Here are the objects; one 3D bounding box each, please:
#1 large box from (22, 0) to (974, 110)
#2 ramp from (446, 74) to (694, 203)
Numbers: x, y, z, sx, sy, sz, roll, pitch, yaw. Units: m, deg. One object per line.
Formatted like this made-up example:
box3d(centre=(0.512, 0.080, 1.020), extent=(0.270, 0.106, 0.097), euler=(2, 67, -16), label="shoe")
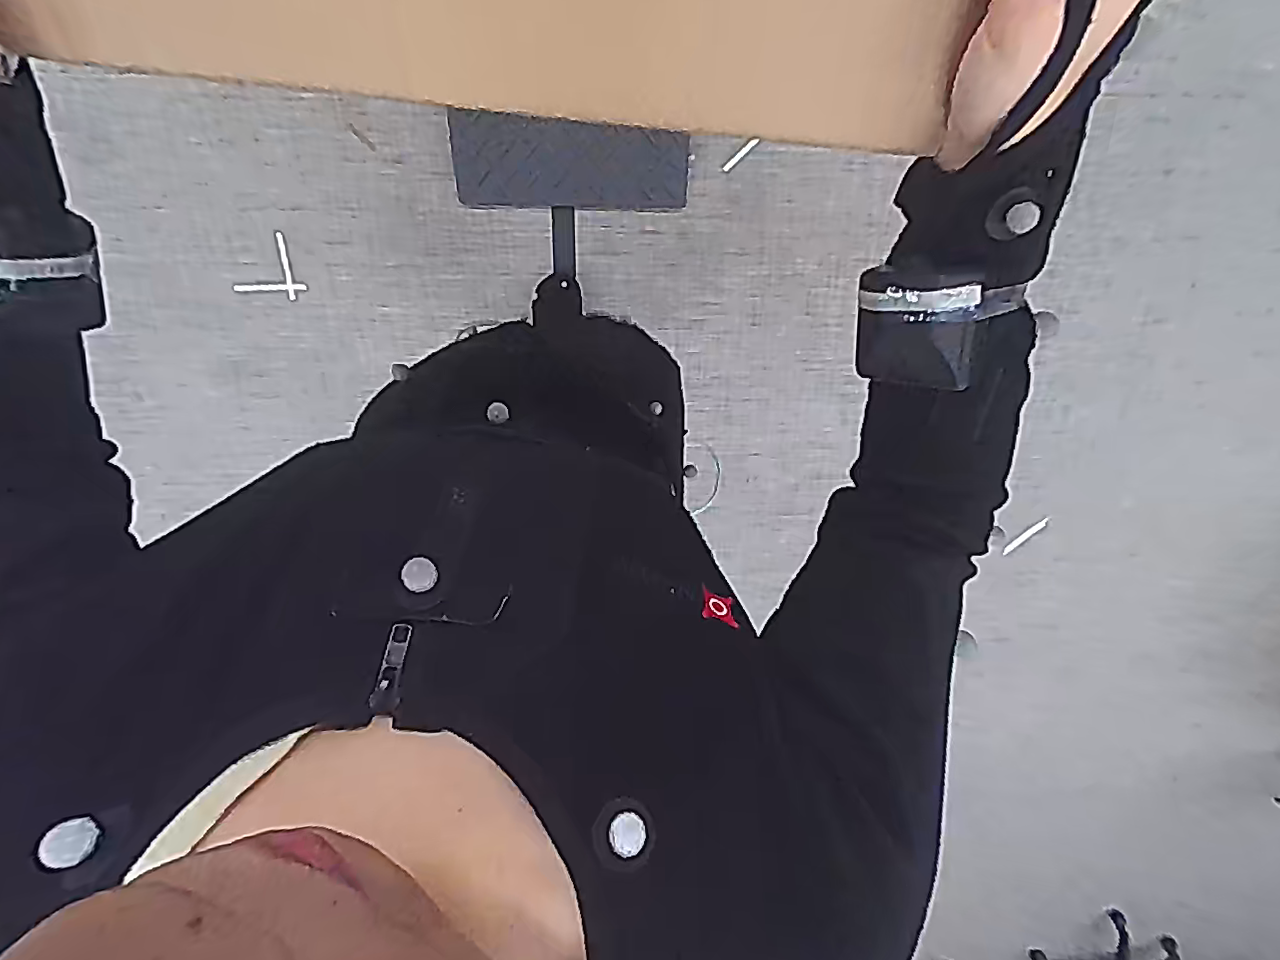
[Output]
box3d(centre=(-0.051, -0.395, 0.254), extent=(0.408, 0.320, 0.320), euler=(3, 132, -5), label="large box")
box3d(centre=(-0.124, -1.029, 0.912), extent=(0.509, 0.206, 0.991), euler=(-3, 112, -4), label="ramp")
